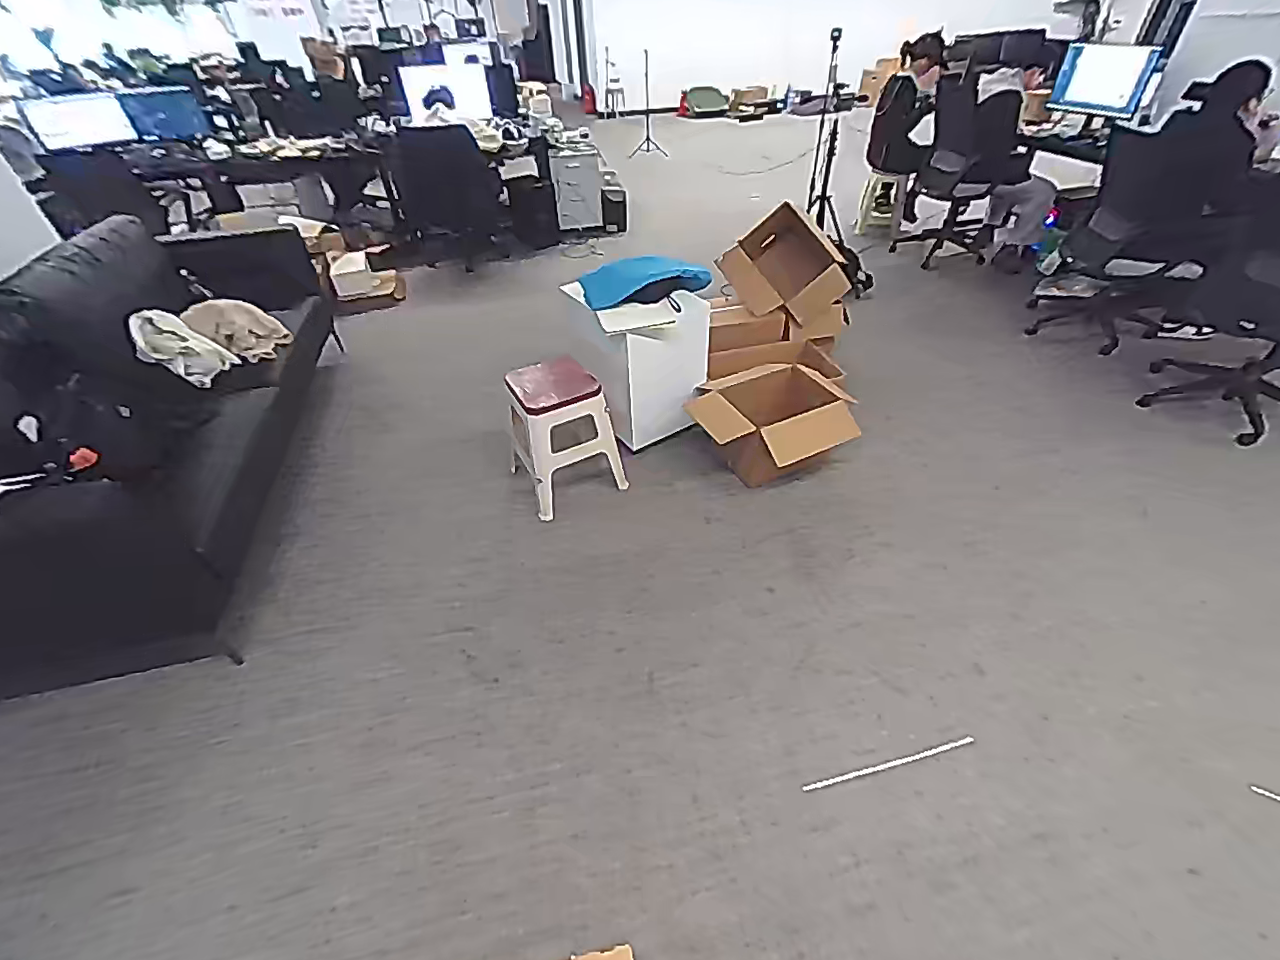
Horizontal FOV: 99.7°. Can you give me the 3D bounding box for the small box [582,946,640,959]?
[{"bbox_3d":[-0.065,1.006,0.997,0.168,0.176,0.179,-10,42,-7],"label":"small box"}]
